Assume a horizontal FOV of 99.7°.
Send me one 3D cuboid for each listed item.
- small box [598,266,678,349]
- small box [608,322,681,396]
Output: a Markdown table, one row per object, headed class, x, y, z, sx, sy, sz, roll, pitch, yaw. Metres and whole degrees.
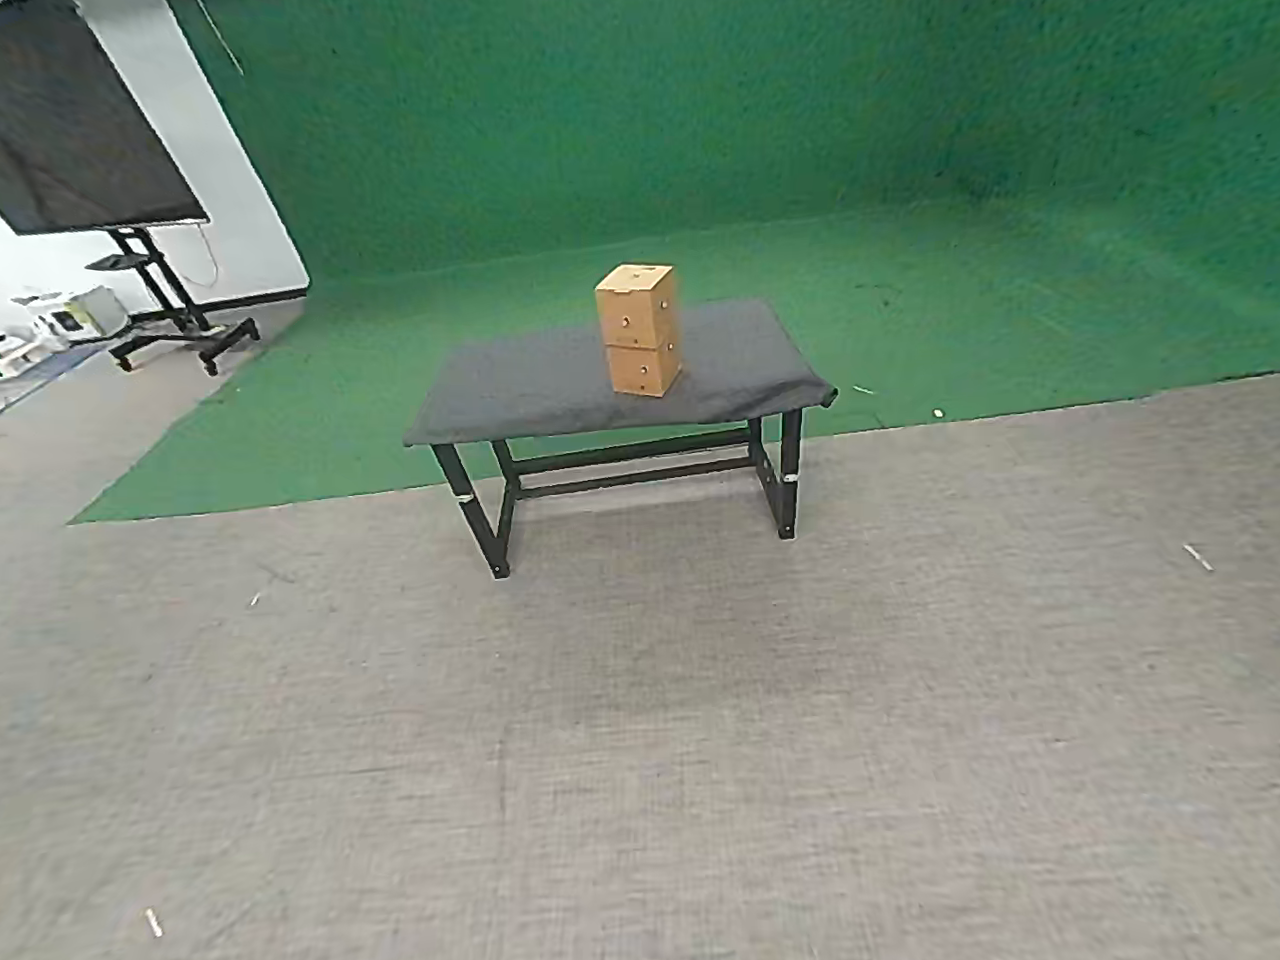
| class | x | y | z | sx | sy | sz | roll | pitch | yaw |
| --- | --- | --- | --- | --- | --- | --- | --- | --- | --- |
| small box | 0.004 | -0.489 | 1.534 | 0.168 | 0.176 | 0.179 | 11 | 45 | 22 |
| small box | 0.023 | -0.373 | 1.649 | 0.168 | 0.176 | 0.179 | 11 | 43 | 21 |
